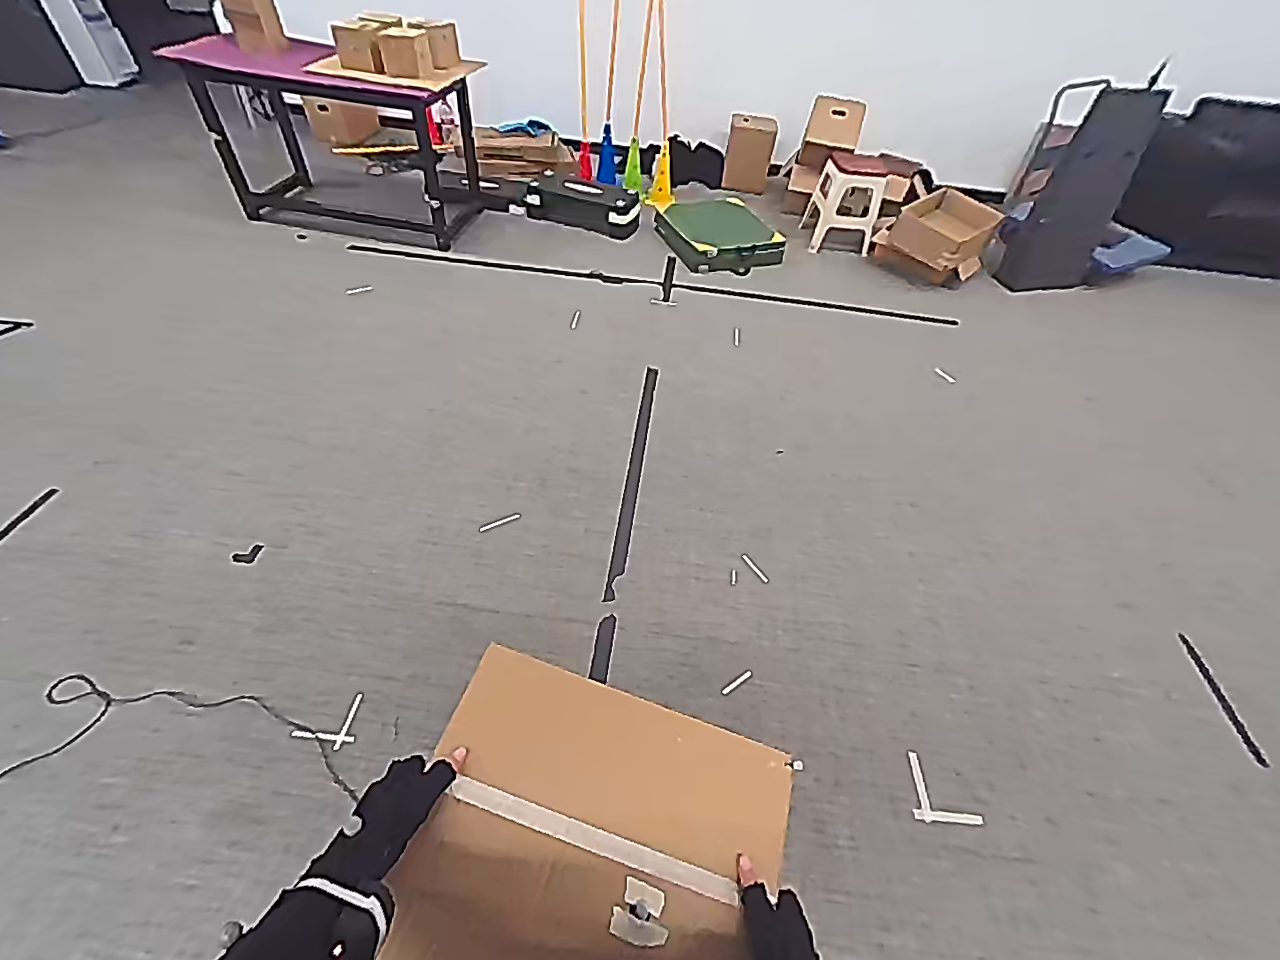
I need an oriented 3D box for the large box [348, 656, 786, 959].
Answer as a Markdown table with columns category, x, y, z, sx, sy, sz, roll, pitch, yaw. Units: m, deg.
| category | x | y | z | sx | sy | sz | roll | pitch | yaw |
| --- | --- | --- | --- | --- | --- | --- | --- | --- | --- |
| large box | -0.072 | 0.485 | 0.707 | 0.408 | 0.320 | 0.320 | 19 | 53 | 4 |
